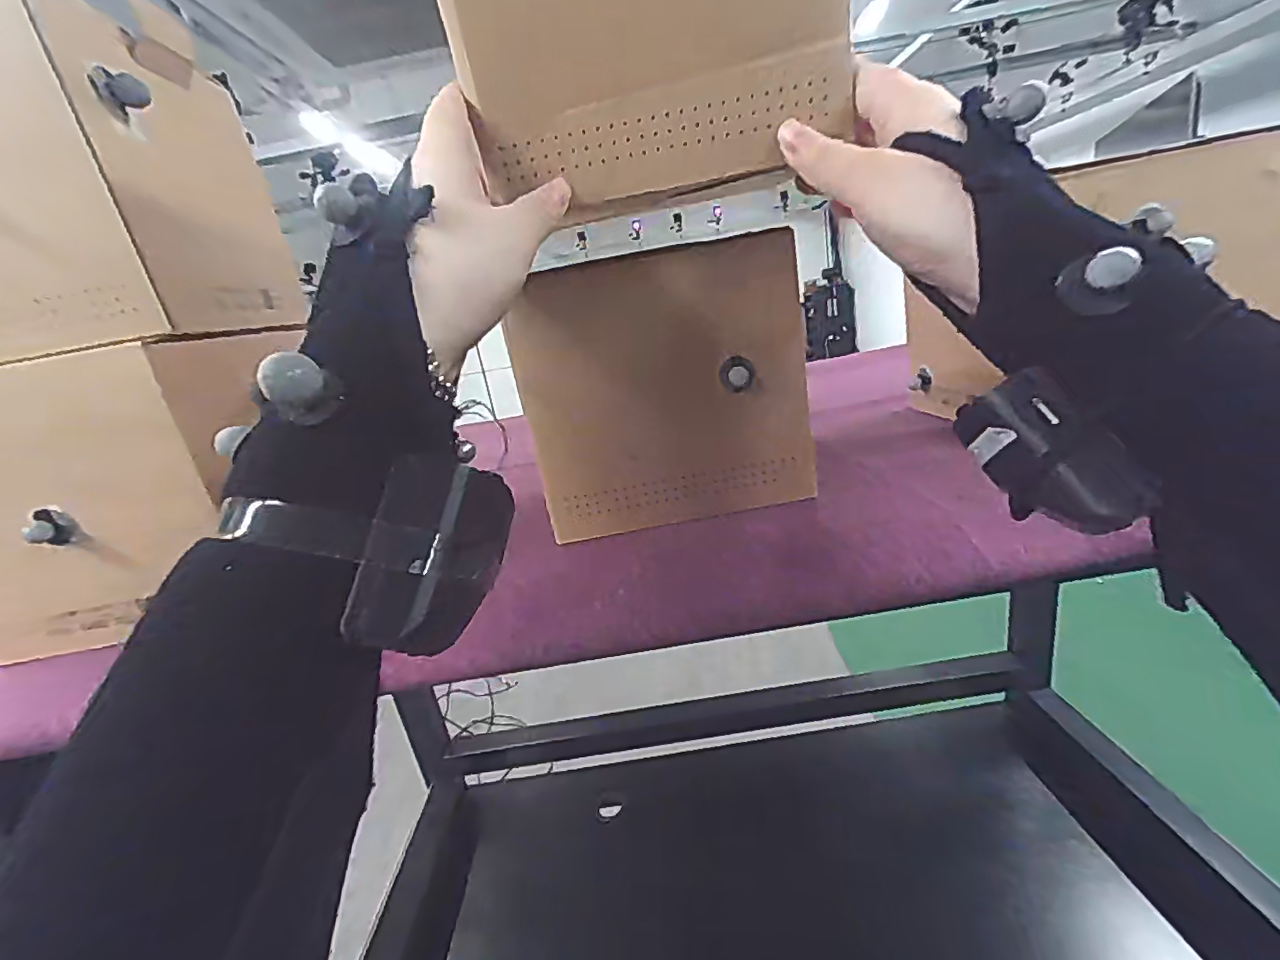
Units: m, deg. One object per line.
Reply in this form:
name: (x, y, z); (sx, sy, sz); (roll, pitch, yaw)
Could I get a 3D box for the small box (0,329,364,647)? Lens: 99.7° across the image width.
small box: (-0.325, -0.001, 0.378); (0.168, 0.176, 0.179); (-10, 19, -1)

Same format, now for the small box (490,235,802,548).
small box: (0.011, -0.068, 0.401); (0.179, 0.176, 0.168); (-12, 18, 0)

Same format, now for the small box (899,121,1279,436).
small box: (0.326, -0.138, 0.415); (0.179, 0.176, 0.168); (-10, 16, 3)

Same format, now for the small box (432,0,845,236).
small box: (-0.005, -0.234, 0.289); (0.179, 0.176, 0.168); (-10, 24, 3)
